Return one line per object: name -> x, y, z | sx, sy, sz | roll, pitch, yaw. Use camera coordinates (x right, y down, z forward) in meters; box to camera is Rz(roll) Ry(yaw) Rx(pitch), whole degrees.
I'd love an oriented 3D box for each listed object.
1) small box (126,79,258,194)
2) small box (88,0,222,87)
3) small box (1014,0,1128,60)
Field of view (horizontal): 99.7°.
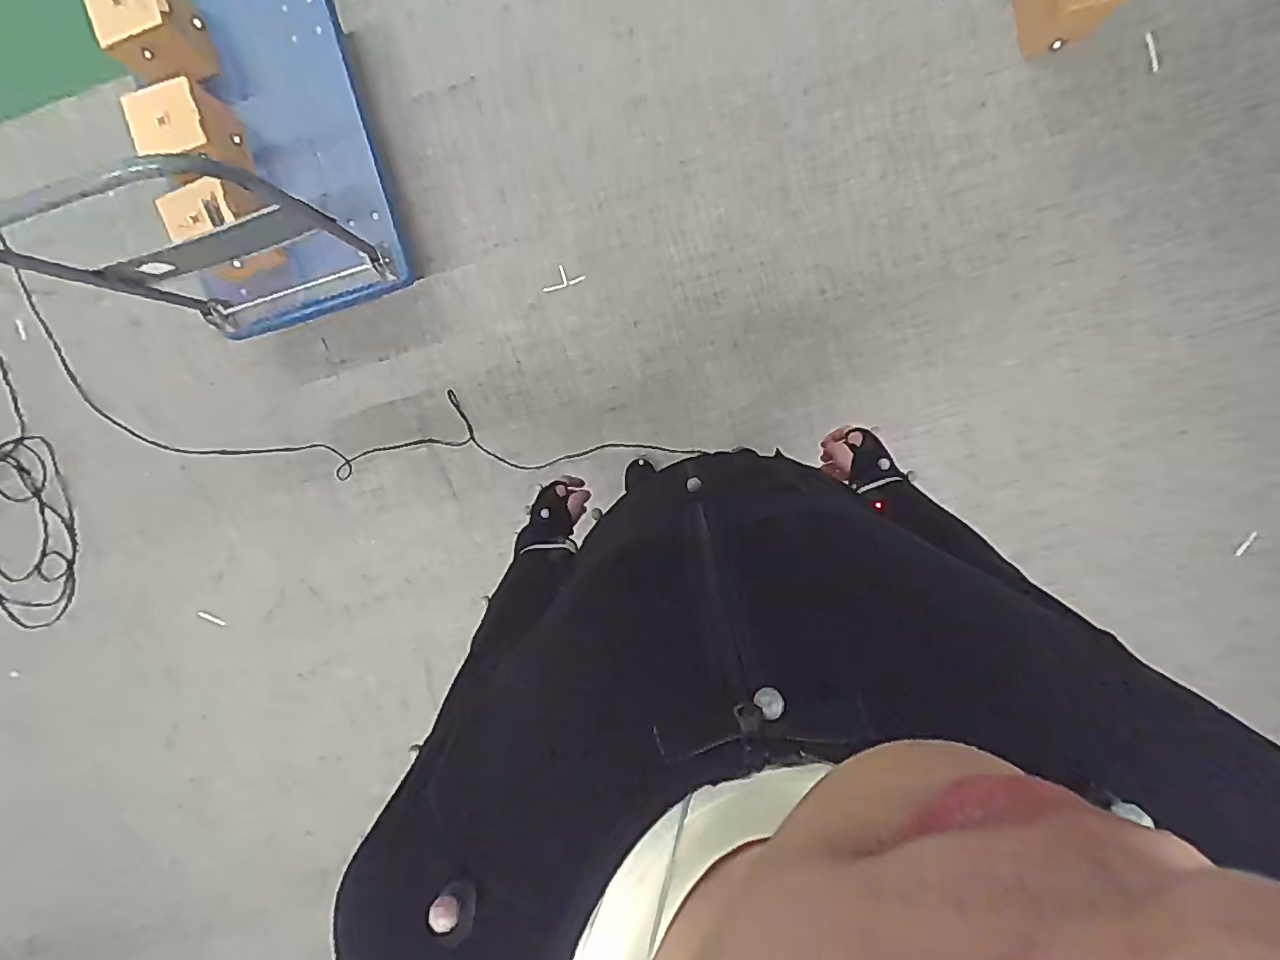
small box -> -1.136, -0.866, 1.383 | 0.179, 0.176, 0.168 | -15, 93, 2
small box -> -1.218, -1.133, 1.364 | 0.179, 0.176, 0.168 | -16, 94, 3
small box -> 1.126, -1.267, 1.425 | 0.168, 0.176, 0.179 | -11, 93, 4
